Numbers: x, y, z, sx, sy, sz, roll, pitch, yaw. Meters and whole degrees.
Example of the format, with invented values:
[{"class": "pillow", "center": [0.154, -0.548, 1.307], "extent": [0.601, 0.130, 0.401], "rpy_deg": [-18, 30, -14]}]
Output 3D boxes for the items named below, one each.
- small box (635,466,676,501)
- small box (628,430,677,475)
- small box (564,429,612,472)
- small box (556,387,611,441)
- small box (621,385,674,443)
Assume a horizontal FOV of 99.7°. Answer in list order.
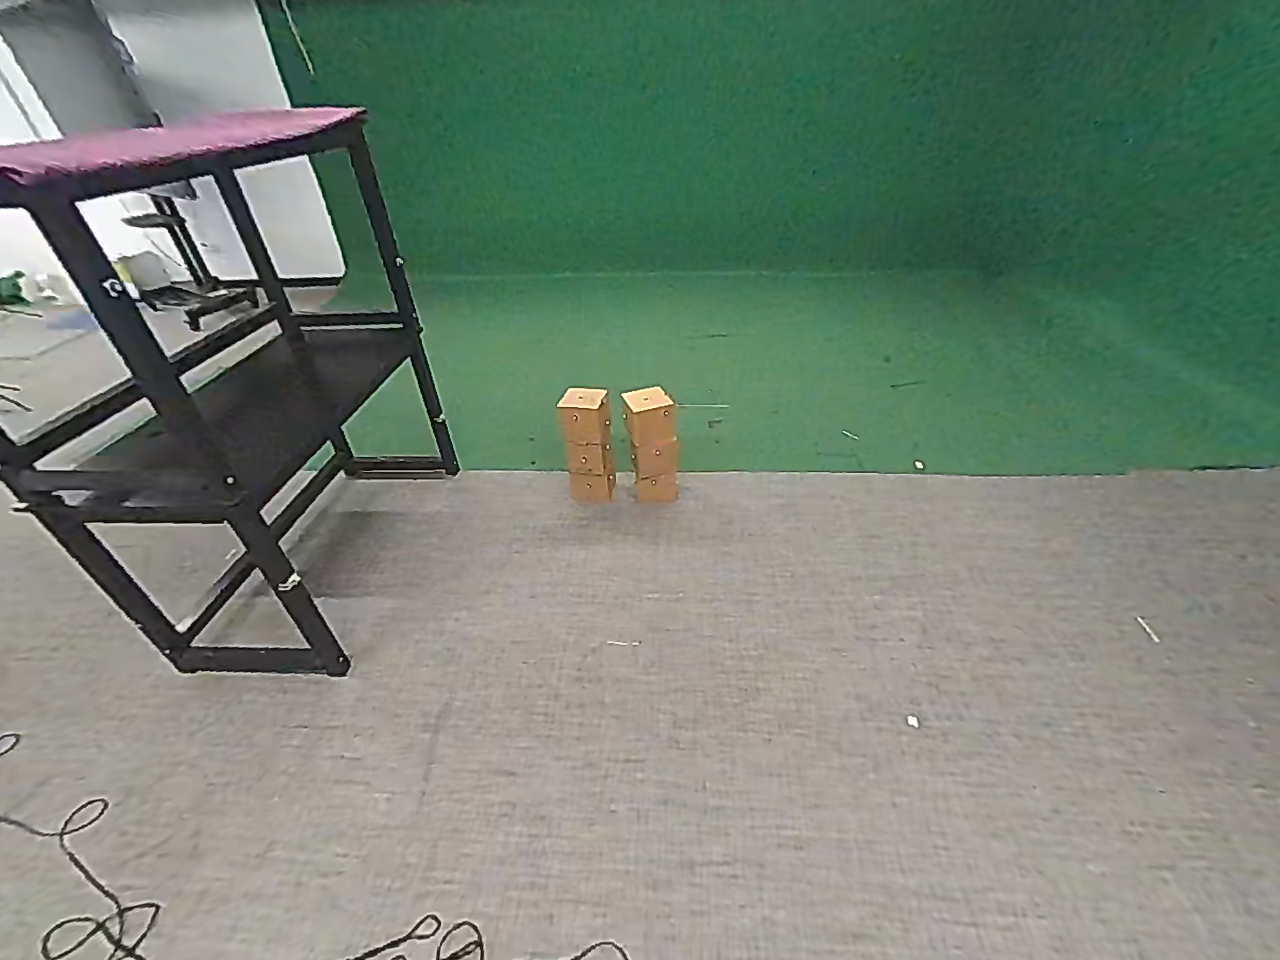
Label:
[{"class": "small box", "center": [0.070, -0.017, 2.441], "extent": [0.179, 0.176, 0.168], "rpy_deg": [-4, 38, -2]}, {"class": "small box", "center": [0.055, -0.139, 2.336], "extent": [0.179, 0.176, 0.168], "rpy_deg": [-11, 40, -12]}, {"class": "small box", "center": [-0.222, -0.149, 2.365], "extent": [0.168, 0.176, 0.179], "rpy_deg": [4, 38, 10]}, {"class": "small box", "center": [-0.230, -0.274, 2.256], "extent": [0.179, 0.176, 0.168], "rpy_deg": [5, 38, 12]}, {"class": "small box", "center": [0.032, -0.271, 2.241], "extent": [0.179, 0.176, 0.168], "rpy_deg": [-14, 40, -16]}]
